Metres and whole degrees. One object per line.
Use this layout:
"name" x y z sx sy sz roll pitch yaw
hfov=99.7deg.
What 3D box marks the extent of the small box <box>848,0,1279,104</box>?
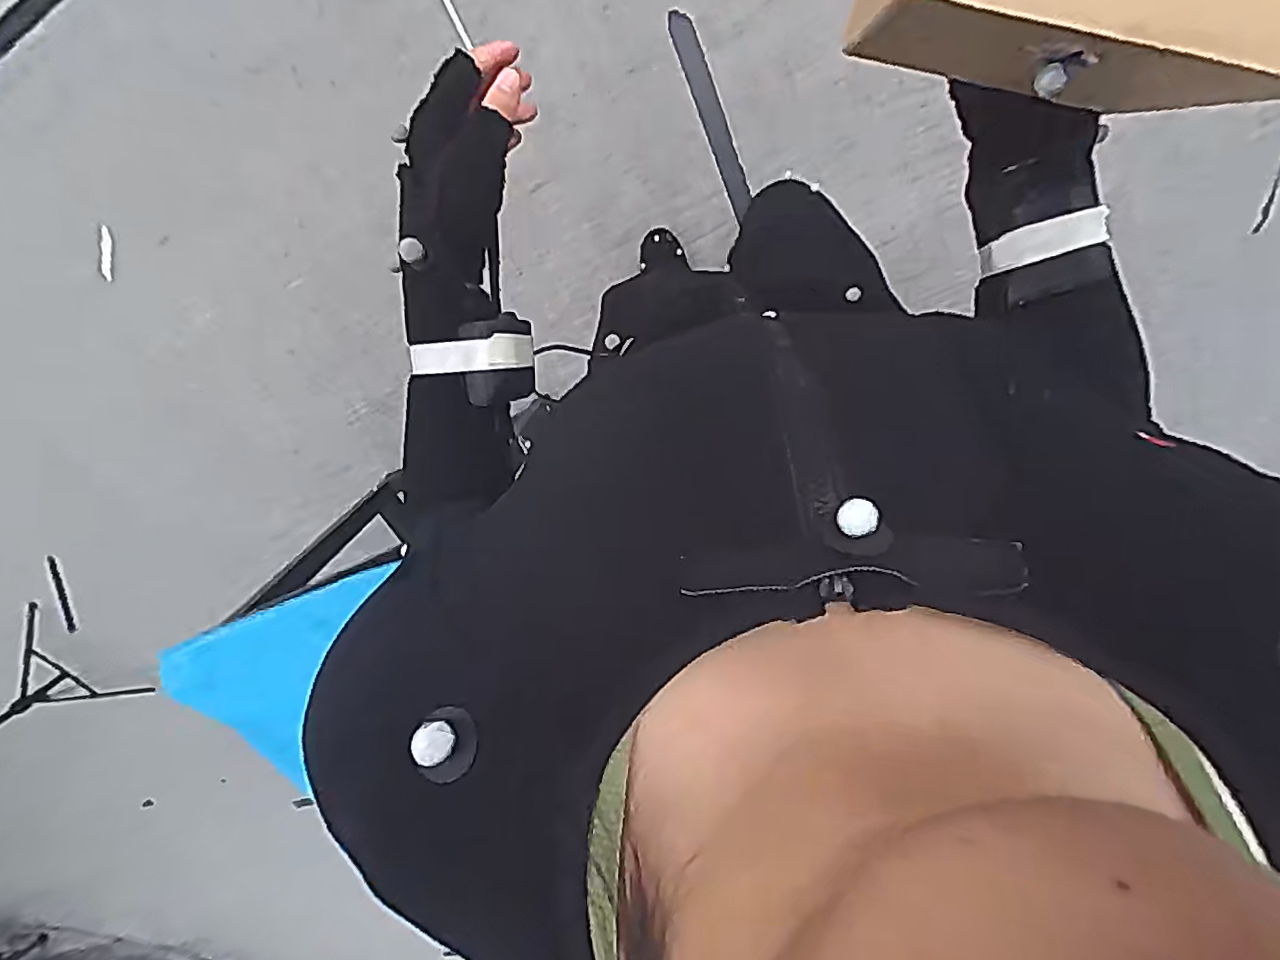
"small box" 0.206 -0.273 0.223 0.179 0.176 0.168 16 124 2
